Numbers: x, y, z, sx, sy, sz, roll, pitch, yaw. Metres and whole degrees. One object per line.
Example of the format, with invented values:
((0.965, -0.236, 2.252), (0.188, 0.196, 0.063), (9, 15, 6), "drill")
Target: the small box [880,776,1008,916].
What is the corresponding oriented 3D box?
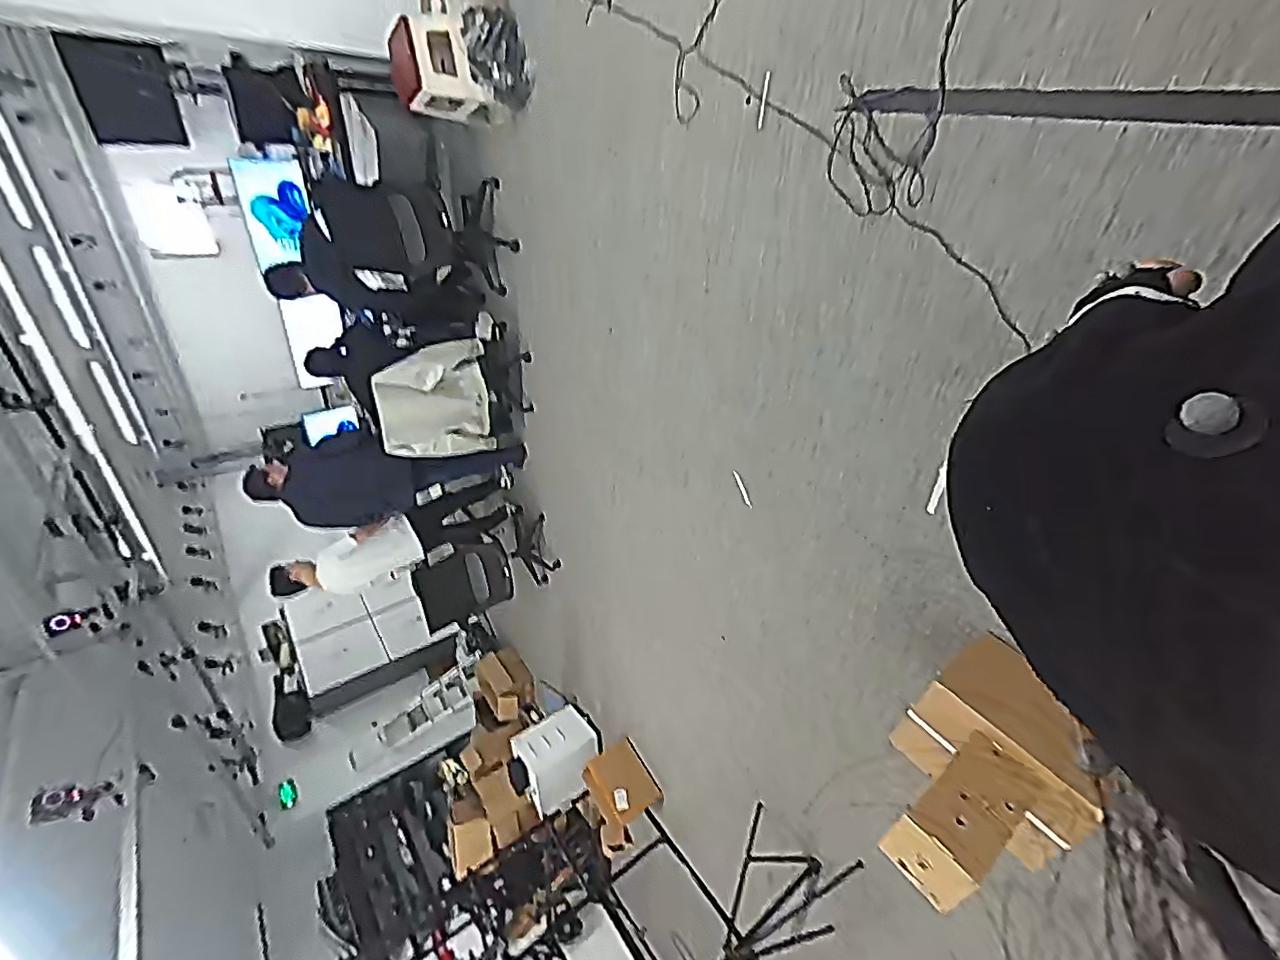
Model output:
((0.683, 0.810, 1.210), (0.168, 0.176, 0.179), (41, 136, 37), "small box")
